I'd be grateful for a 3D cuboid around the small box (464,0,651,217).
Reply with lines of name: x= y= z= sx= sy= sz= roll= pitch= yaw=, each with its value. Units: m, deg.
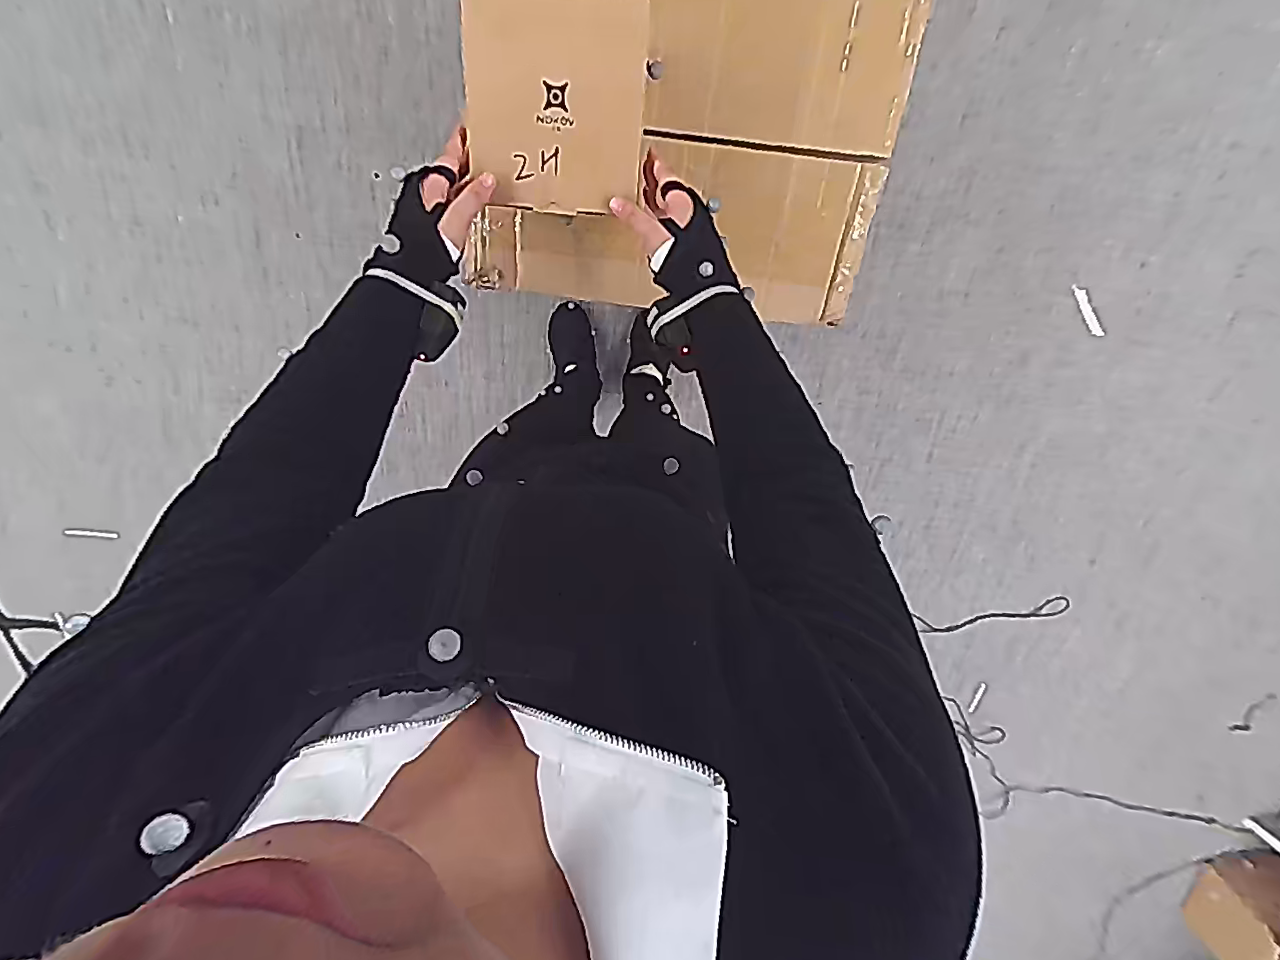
small box: x=-0.080 y=-0.385 z=0.576 sx=0.168 sy=0.176 sz=0.179 roll=4 pitch=118 yaw=-2
